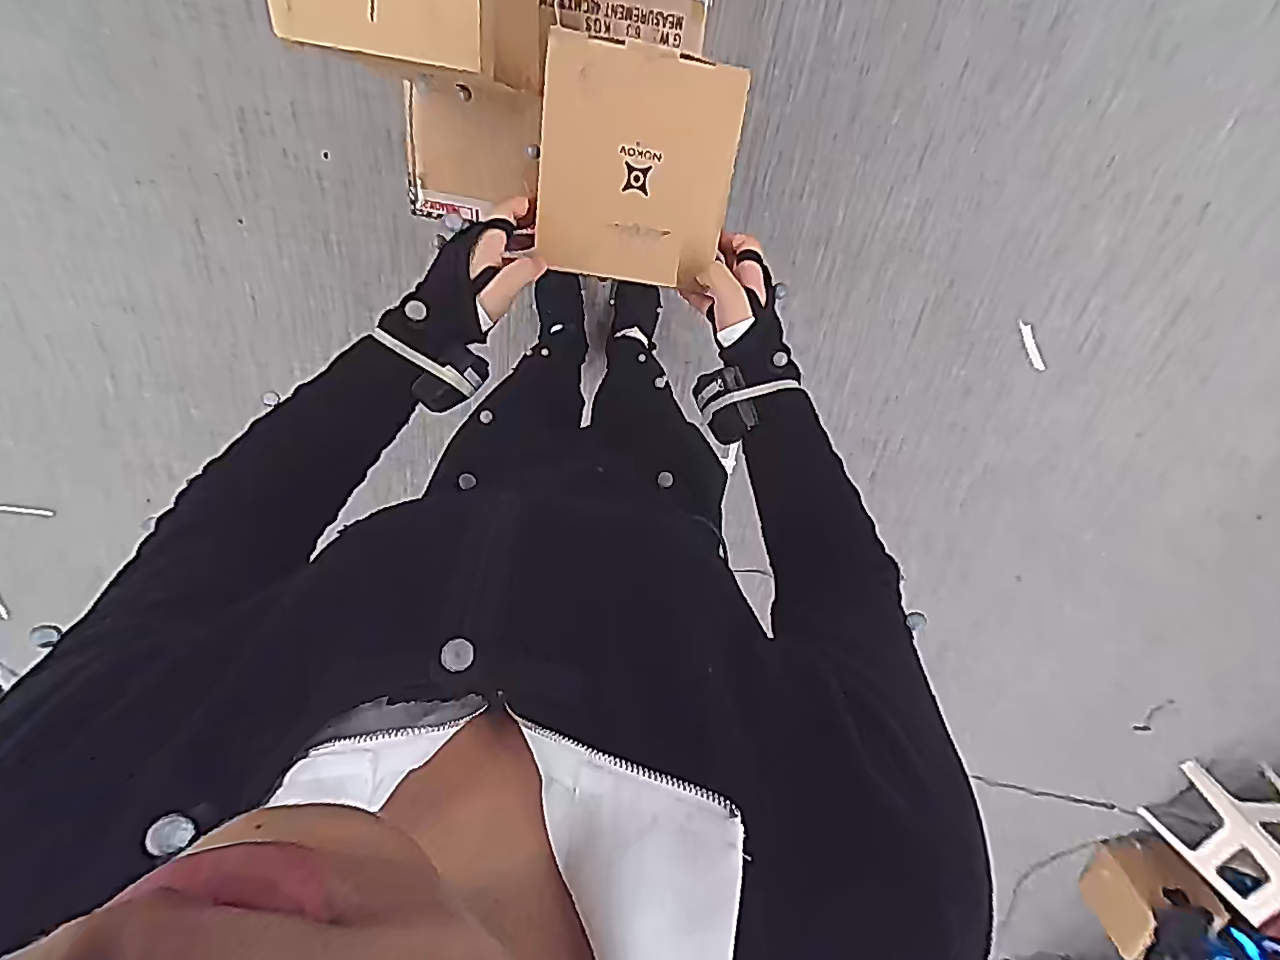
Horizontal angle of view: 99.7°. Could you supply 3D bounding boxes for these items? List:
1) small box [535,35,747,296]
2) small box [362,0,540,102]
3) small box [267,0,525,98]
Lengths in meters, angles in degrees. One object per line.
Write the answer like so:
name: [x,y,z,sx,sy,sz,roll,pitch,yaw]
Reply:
small box: [-0.011,-0.293,0.533,0.168,0.176,0.179,5,117,-8]
small box: [-0.208,-0.538,0.597,0.168,0.176,0.179,5,121,-1]
small box: [-0.195,-0.449,0.459,0.168,0.176,0.179,8,121,-3]
